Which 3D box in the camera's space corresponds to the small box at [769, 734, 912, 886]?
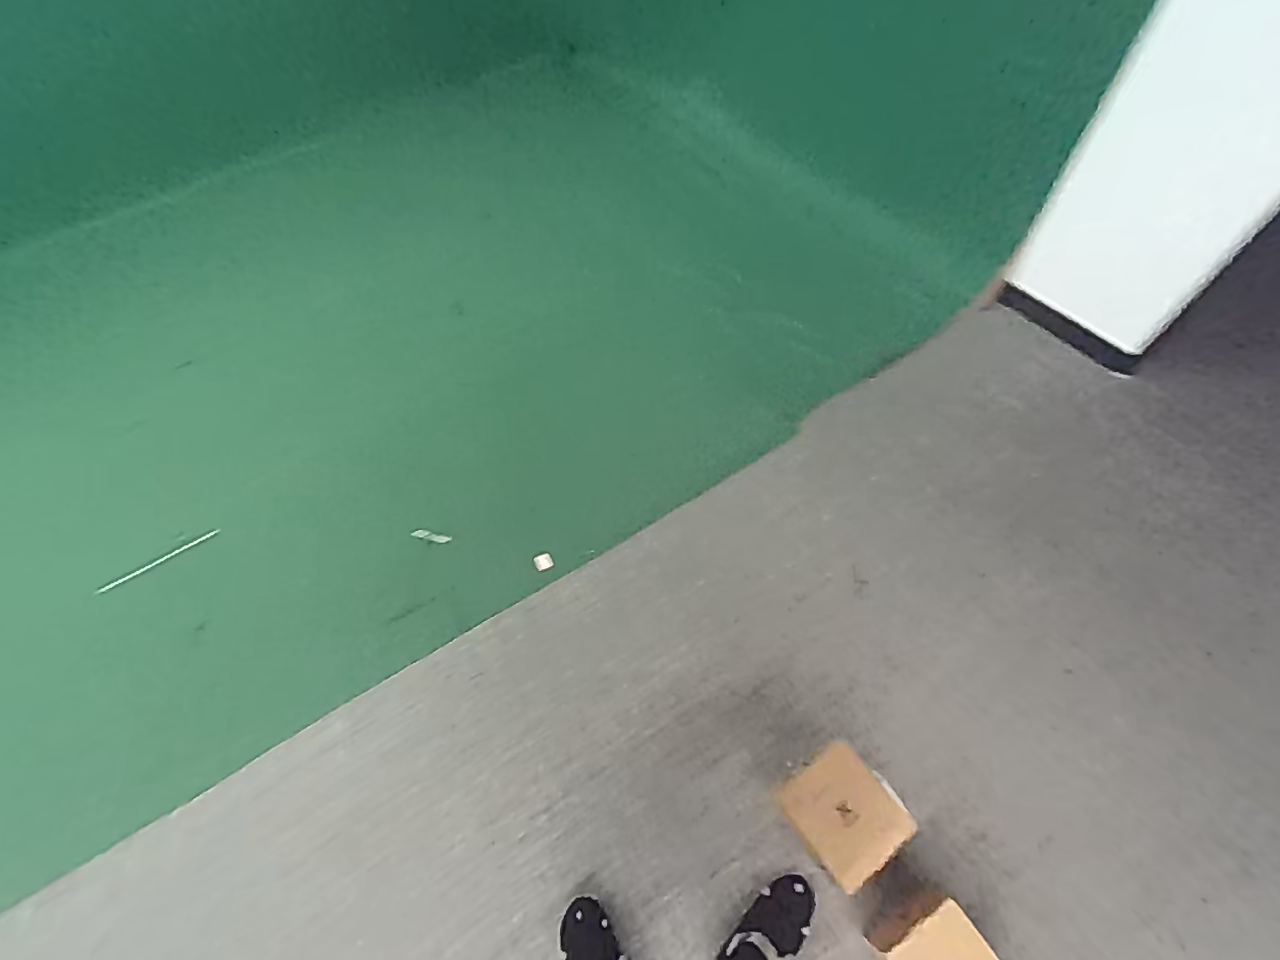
[{"bbox_3d":[0.363,0.611,1.015,0.168,0.176,0.179,-33,59,-13],"label":"small box"}]
